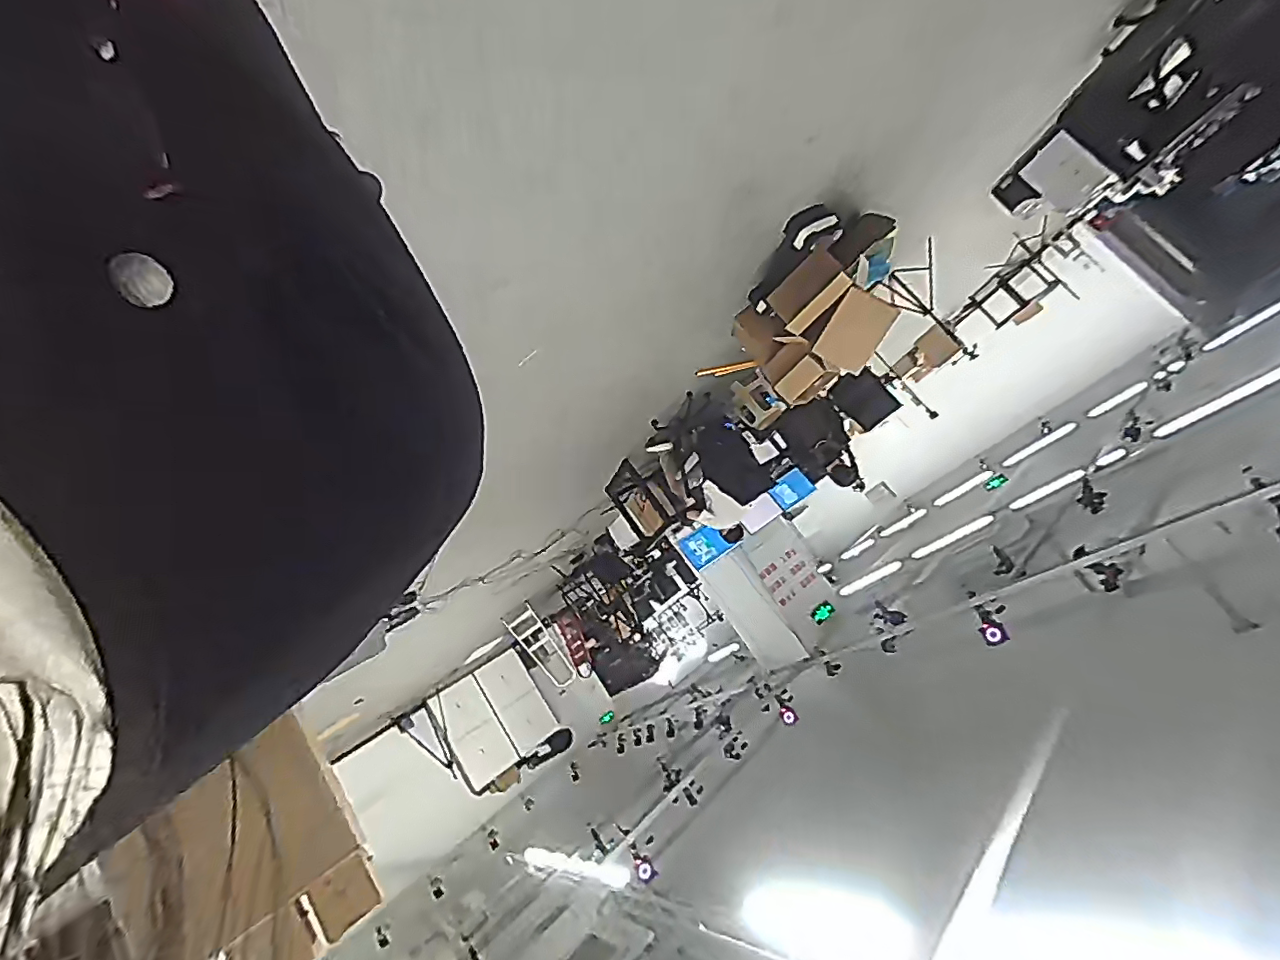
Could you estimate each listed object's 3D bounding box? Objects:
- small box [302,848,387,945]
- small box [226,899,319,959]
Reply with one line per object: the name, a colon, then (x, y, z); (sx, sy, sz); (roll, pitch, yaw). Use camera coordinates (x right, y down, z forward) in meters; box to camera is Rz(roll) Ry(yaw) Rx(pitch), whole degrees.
small box: (-0.929, 1.300, 1.703); (0.168, 0.176, 0.179); (-31, 164, -29)
small box: (-1.079, 1.381, 1.586); (0.179, 0.176, 0.168); (-28, 163, -34)
